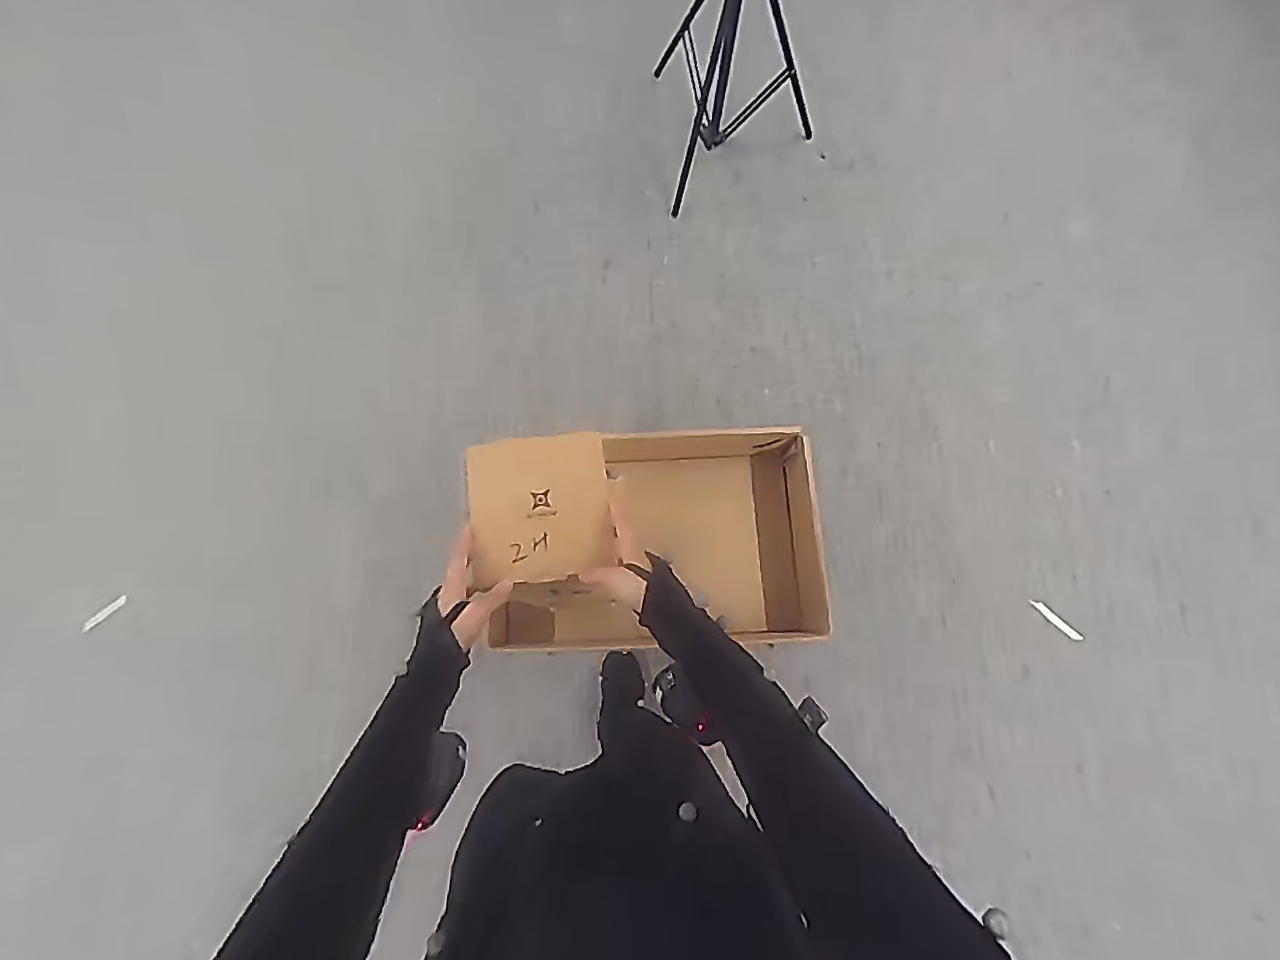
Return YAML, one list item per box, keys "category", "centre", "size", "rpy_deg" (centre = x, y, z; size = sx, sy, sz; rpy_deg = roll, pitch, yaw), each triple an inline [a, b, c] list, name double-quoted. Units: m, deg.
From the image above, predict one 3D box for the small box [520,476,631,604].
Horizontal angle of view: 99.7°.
- category: "small box"
  centre: [-0.101, 0.105, 0.872]
  size: [0.168, 0.176, 0.179]
  rpy_deg: [-5, 74, -3]

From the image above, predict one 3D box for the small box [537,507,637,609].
- category: "small box"
  centre: [-0.103, 0.152, 1.028]
  size: [0.179, 0.176, 0.168]
  rpy_deg: [-7, 75, -3]

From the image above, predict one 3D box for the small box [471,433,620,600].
- category: "small box"
  centre: [-0.118, 0.055, 0.712]
  size: [0.168, 0.176, 0.179]
  rpy_deg: [-7, 74, -4]
